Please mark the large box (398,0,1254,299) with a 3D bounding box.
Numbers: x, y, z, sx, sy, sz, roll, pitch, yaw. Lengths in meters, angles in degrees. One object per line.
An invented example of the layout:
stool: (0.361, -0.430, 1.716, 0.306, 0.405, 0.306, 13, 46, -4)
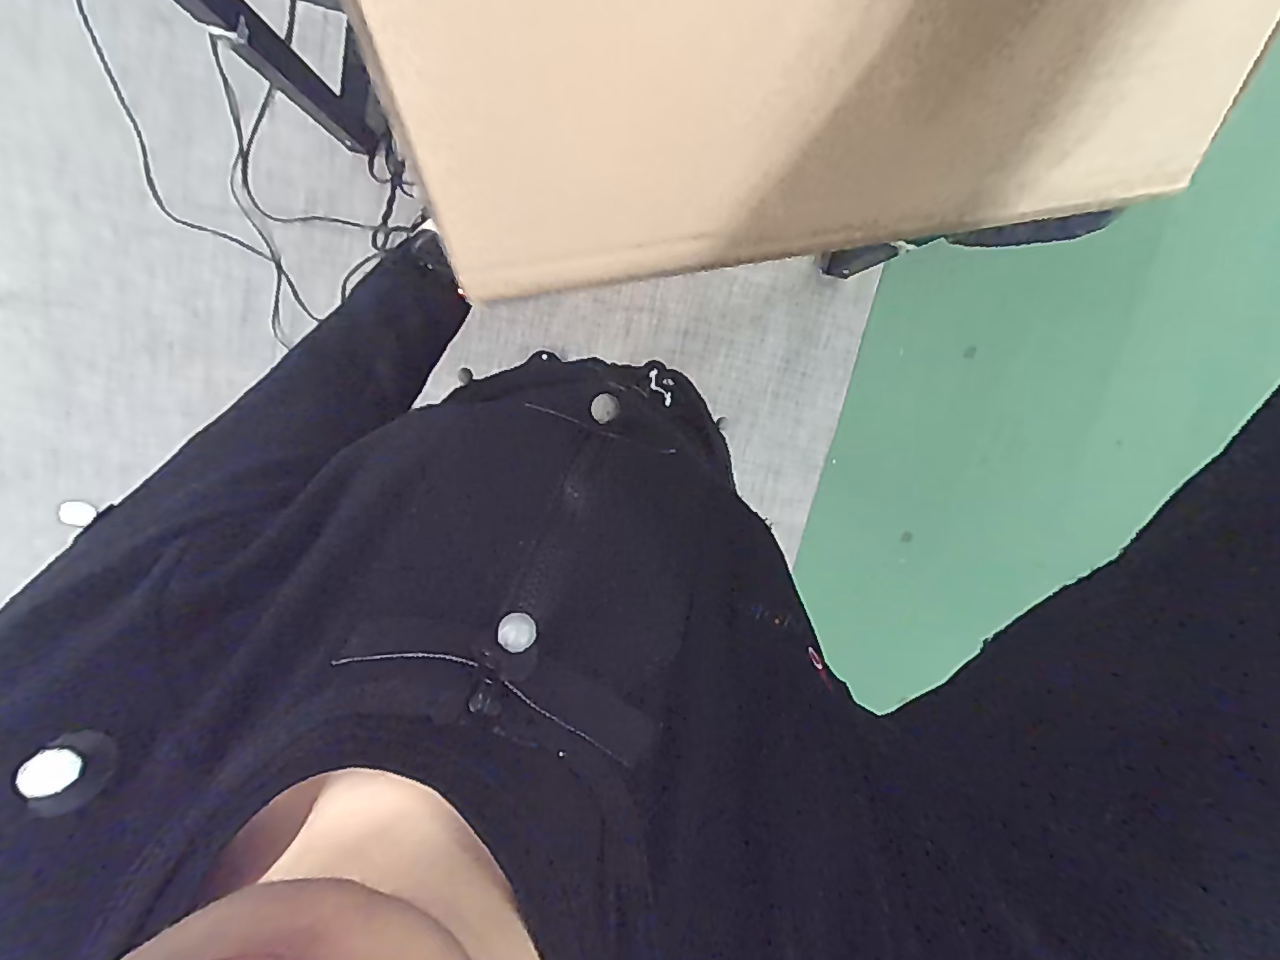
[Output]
large box: (0.038, -0.348, 0.270, 0.320, 0.408, 0.320, -11, 136, -1)
